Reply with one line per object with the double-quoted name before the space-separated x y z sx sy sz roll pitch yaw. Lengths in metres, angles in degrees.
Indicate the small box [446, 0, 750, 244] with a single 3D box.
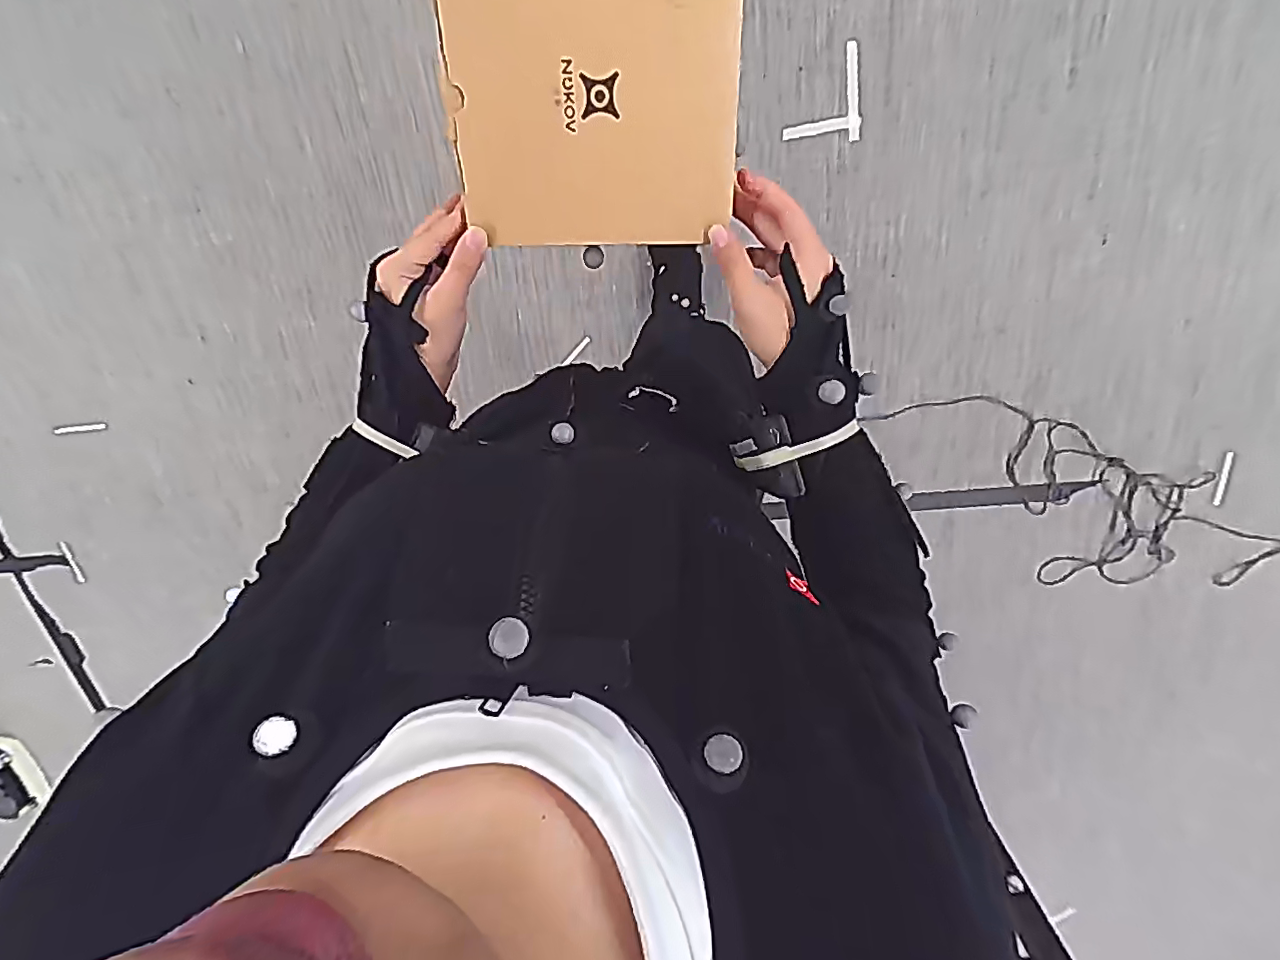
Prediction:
"small box" -0.022 -0.271 0.399 0.179 0.176 0.168 1 117 2
